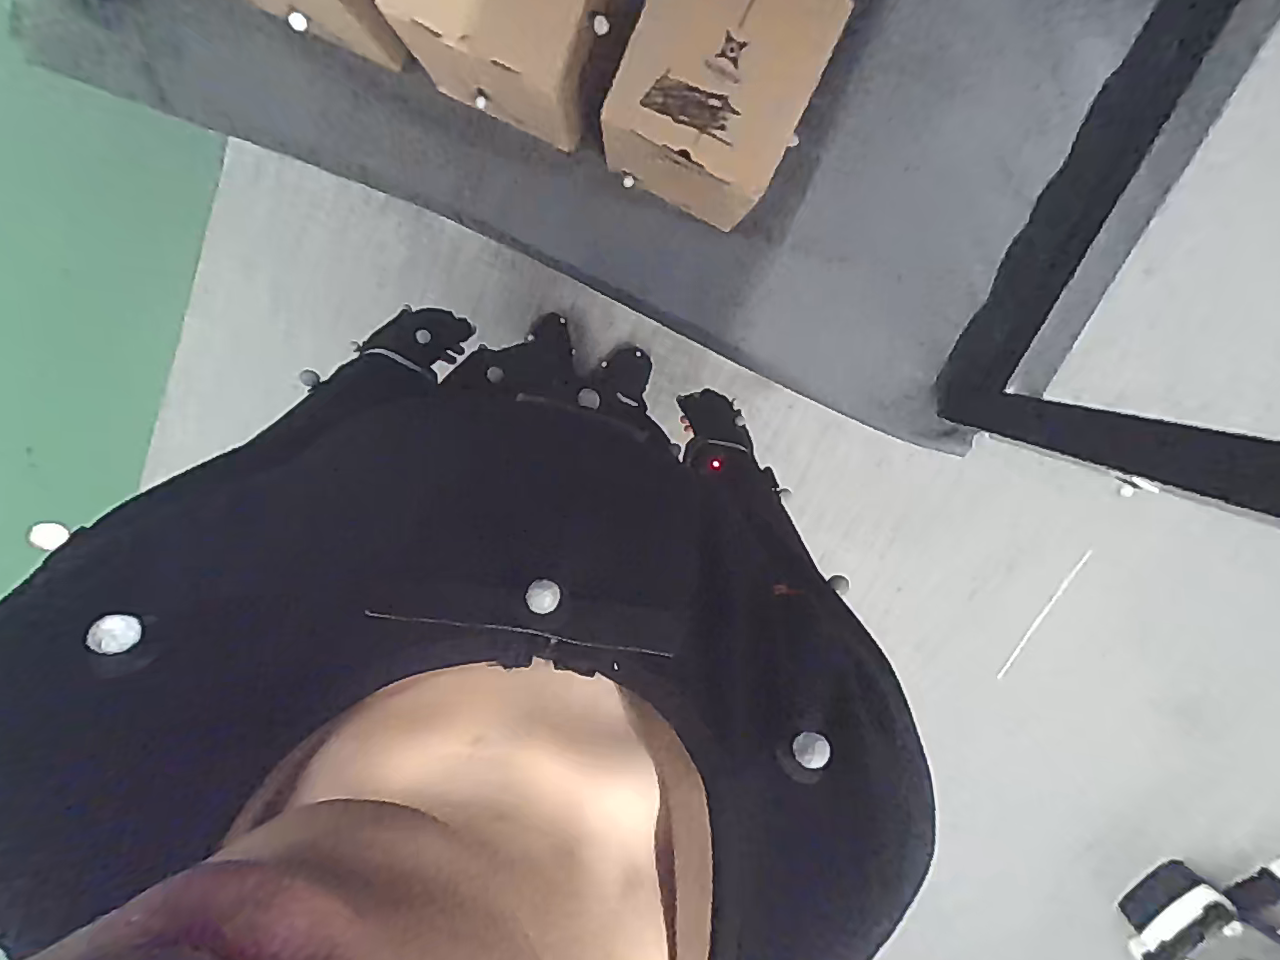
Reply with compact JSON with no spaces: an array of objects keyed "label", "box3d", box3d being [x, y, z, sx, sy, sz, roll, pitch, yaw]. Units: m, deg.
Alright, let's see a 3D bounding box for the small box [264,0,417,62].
[{"label":"small box","box3d":[-0.307,-0.549,0.499,0.168,0.176,0.179,22,104,-7]}]
